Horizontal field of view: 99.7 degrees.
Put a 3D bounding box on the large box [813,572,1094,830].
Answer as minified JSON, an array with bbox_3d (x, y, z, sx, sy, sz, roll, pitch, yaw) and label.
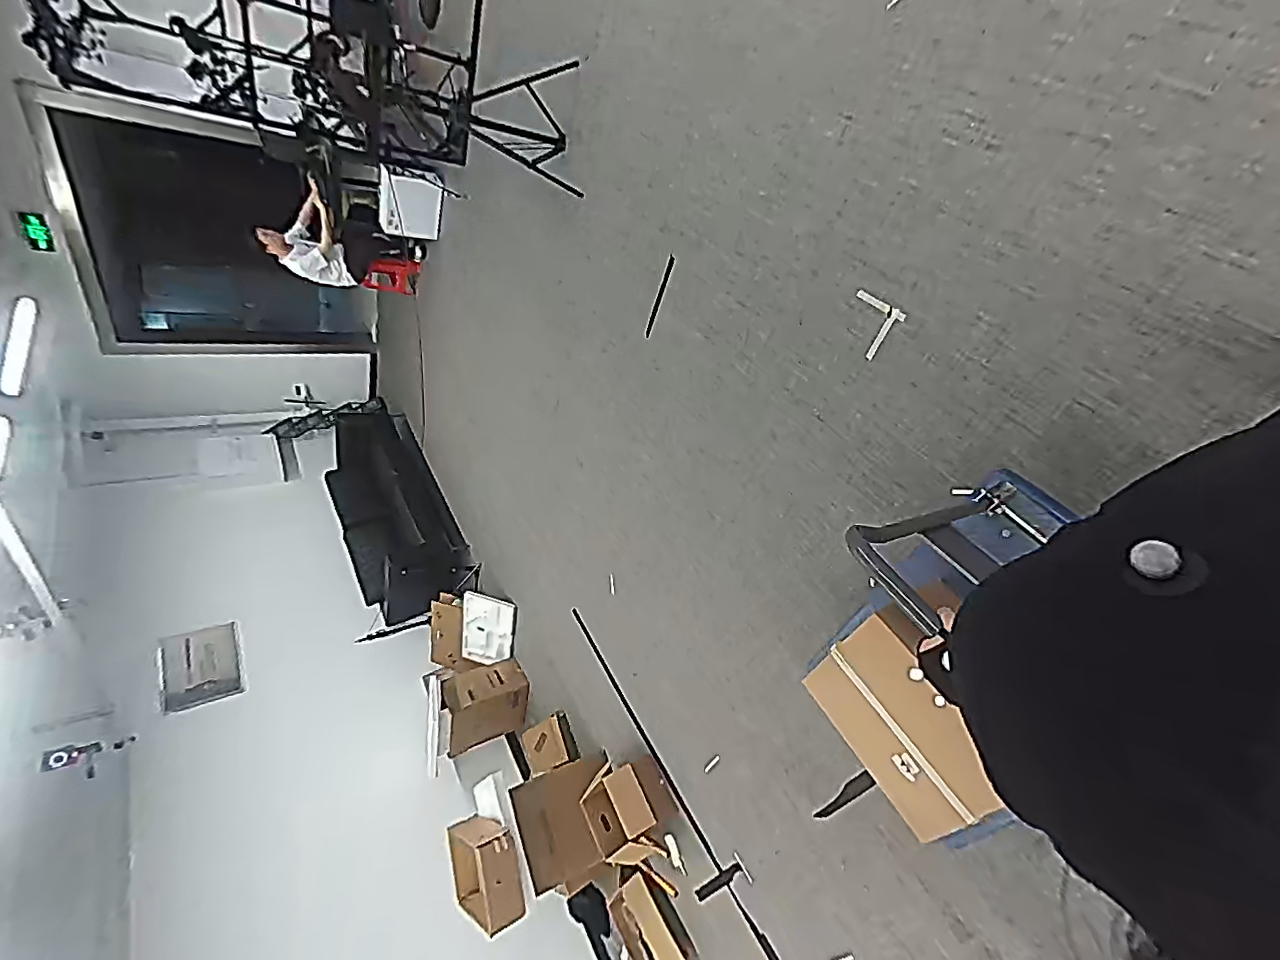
[{"bbox_3d":[0.701,0.486,1.252,0.408,0.320,0.320,53,137,32],"label":"large box"}]
